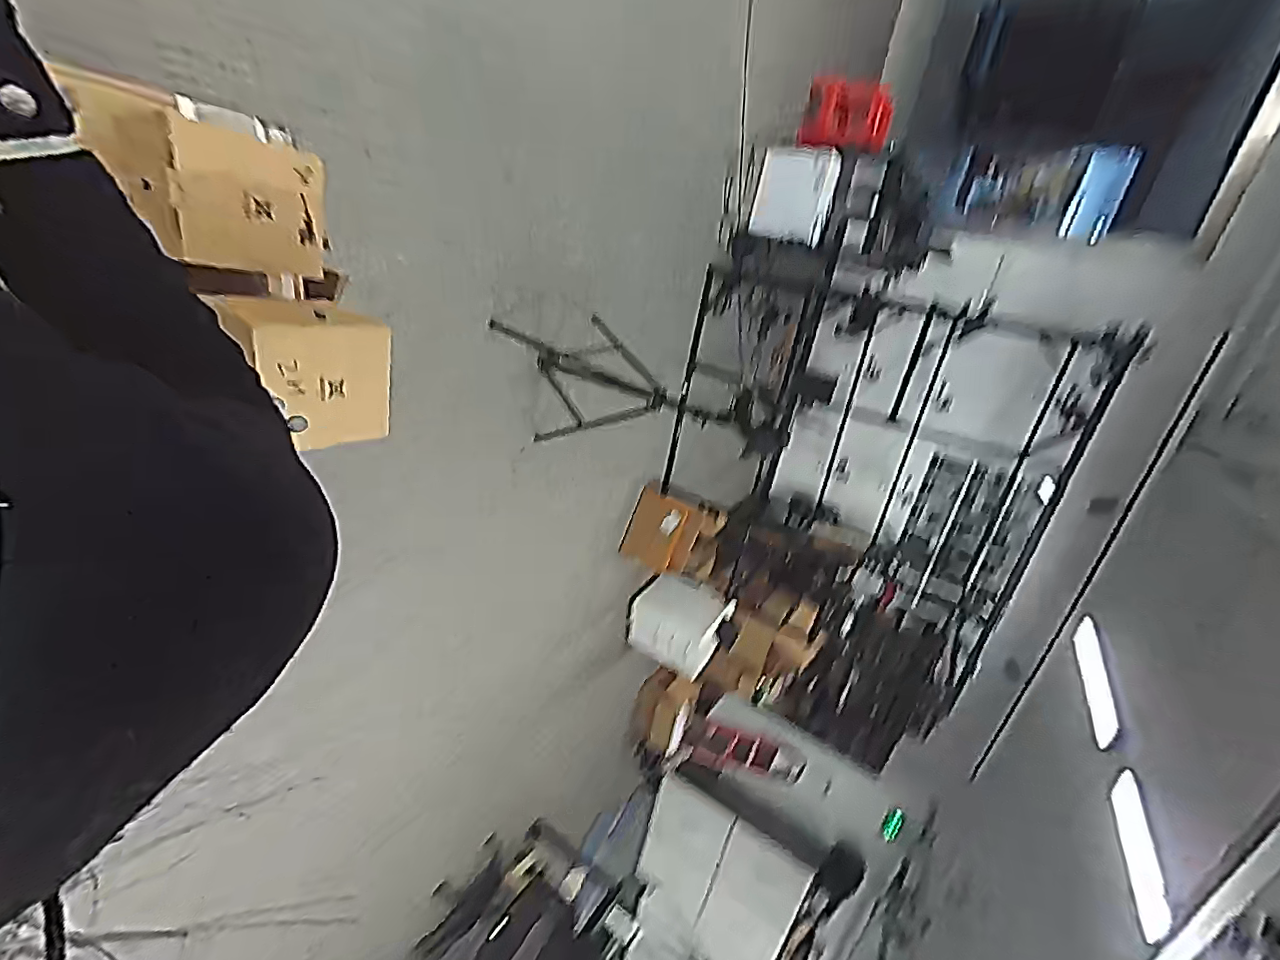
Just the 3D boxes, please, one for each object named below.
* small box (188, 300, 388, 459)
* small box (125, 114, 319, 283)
[{"bbox_3d":[-0.483,-0.146,0.753,0.179,0.176,0.168,-21,129,-54],"label":"small box"},{"bbox_3d":[-0.581,-0.383,0.756,0.179,0.176,0.168,-15,122,-55],"label":"small box"}]
